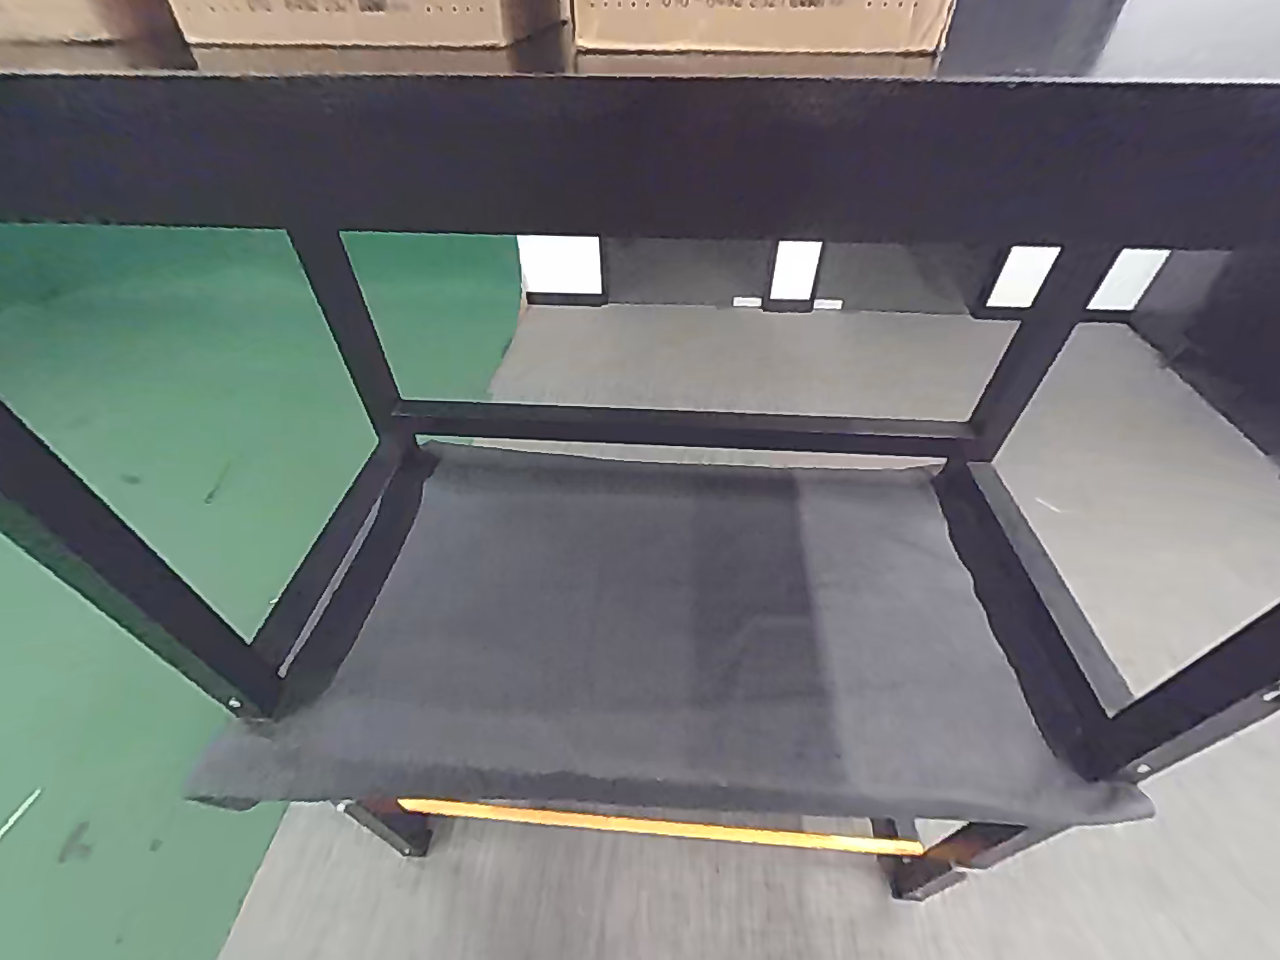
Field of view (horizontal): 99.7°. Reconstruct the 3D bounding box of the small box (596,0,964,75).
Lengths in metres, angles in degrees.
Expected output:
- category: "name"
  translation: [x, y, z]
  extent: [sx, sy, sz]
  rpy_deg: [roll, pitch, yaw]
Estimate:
- category: "small box"
  translation: [0.066, -0.307, 0.250]
  extent: [0.168, 0.176, 0.179]
  rpy_deg: [4, 45, 4]
